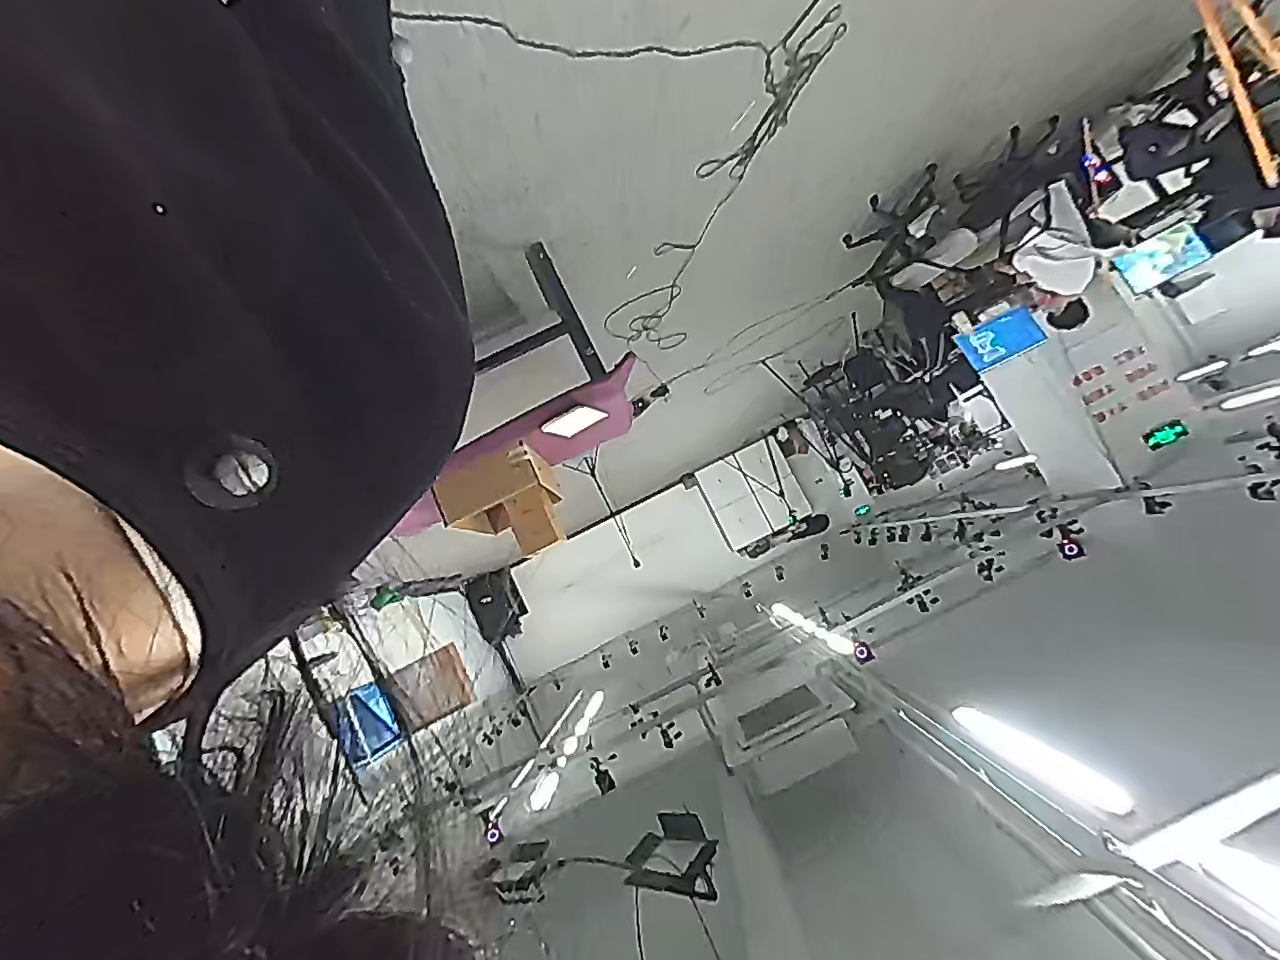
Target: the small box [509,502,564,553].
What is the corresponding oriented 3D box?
[{"bbox_3d":[-0.471,0.216,2.439,0.179,0.176,0.168,-27,171,0],"label":"small box"}]
